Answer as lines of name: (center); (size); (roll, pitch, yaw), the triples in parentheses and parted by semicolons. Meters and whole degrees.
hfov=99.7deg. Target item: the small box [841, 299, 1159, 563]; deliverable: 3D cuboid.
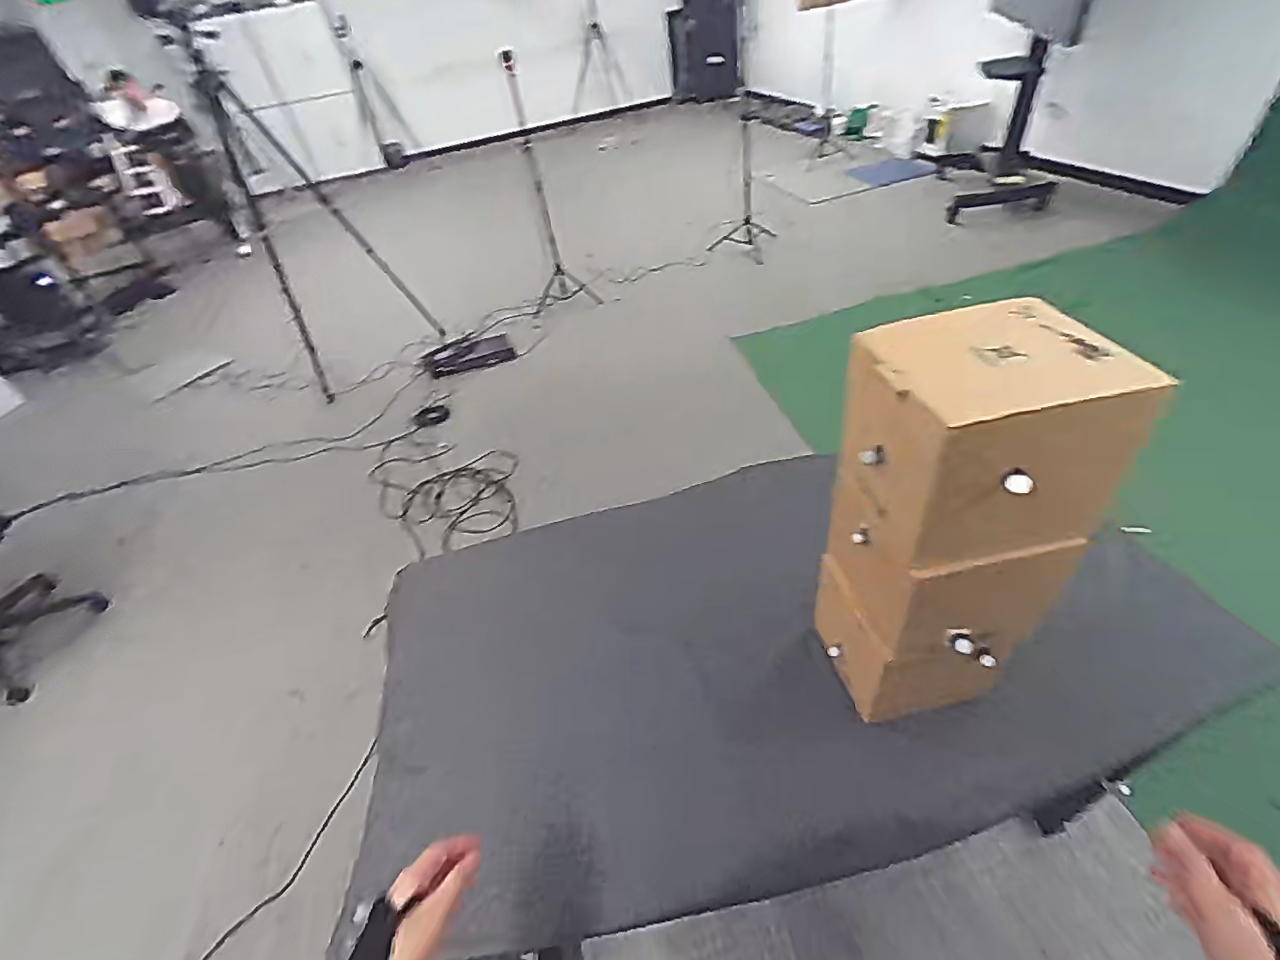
small box: (0.303, -0.043, 0.508); (0.179, 0.176, 0.168); (-12, 41, 1)

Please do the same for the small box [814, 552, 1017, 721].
small box: (0.351, 0.194, 0.726); (0.179, 0.176, 0.168); (-14, 41, -2)

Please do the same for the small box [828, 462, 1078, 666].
small box: (0.327, 0.080, 0.614); (0.168, 0.176, 0.179); (-13, 42, 0)
